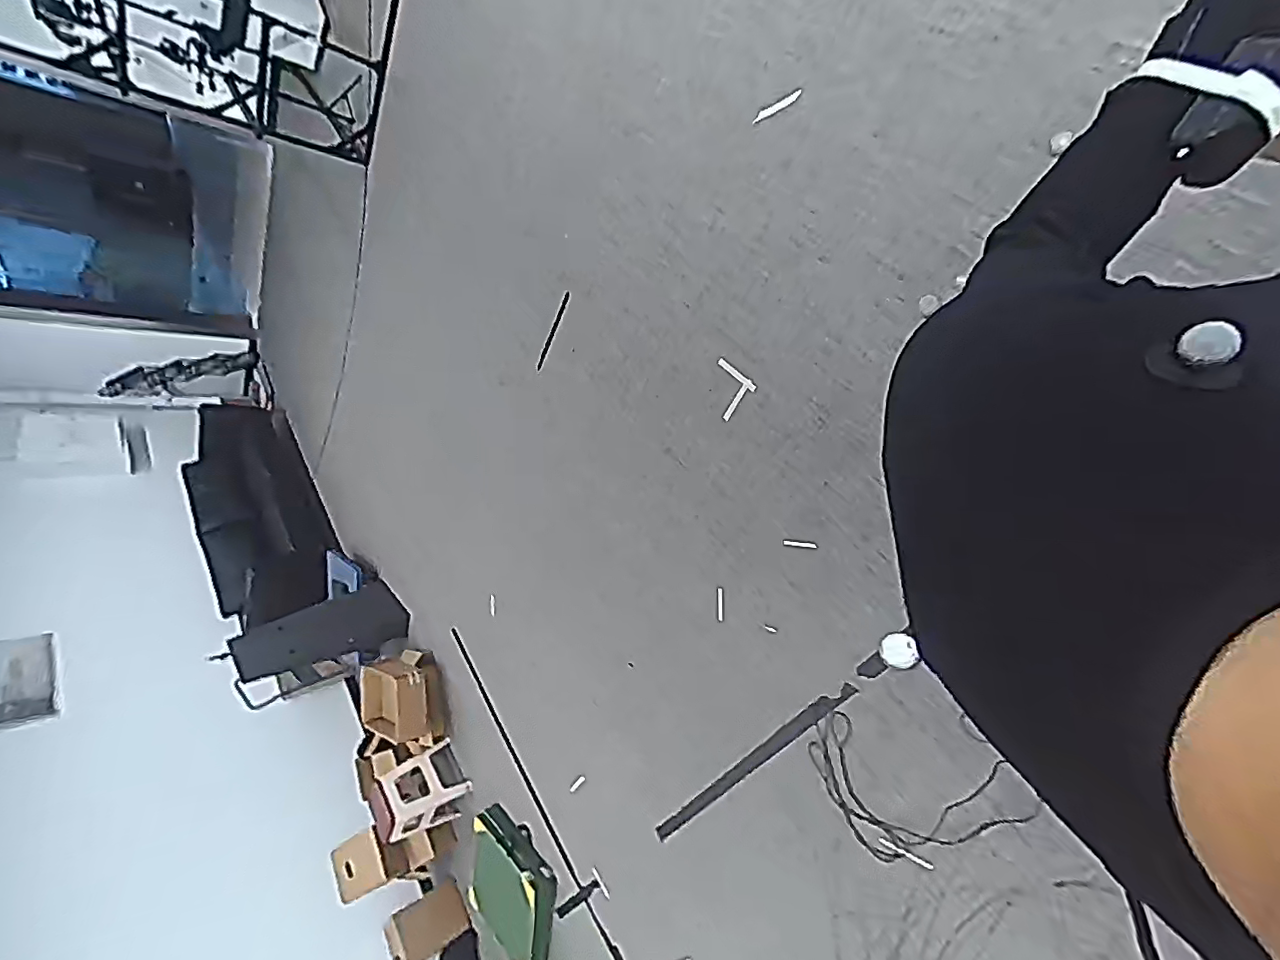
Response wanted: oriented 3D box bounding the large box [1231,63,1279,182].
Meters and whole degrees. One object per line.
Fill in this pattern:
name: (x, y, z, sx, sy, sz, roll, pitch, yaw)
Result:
large box: (0.670, -0.290, 0.268, 0.408, 0.320, 0.320, 43, 128, 27)
